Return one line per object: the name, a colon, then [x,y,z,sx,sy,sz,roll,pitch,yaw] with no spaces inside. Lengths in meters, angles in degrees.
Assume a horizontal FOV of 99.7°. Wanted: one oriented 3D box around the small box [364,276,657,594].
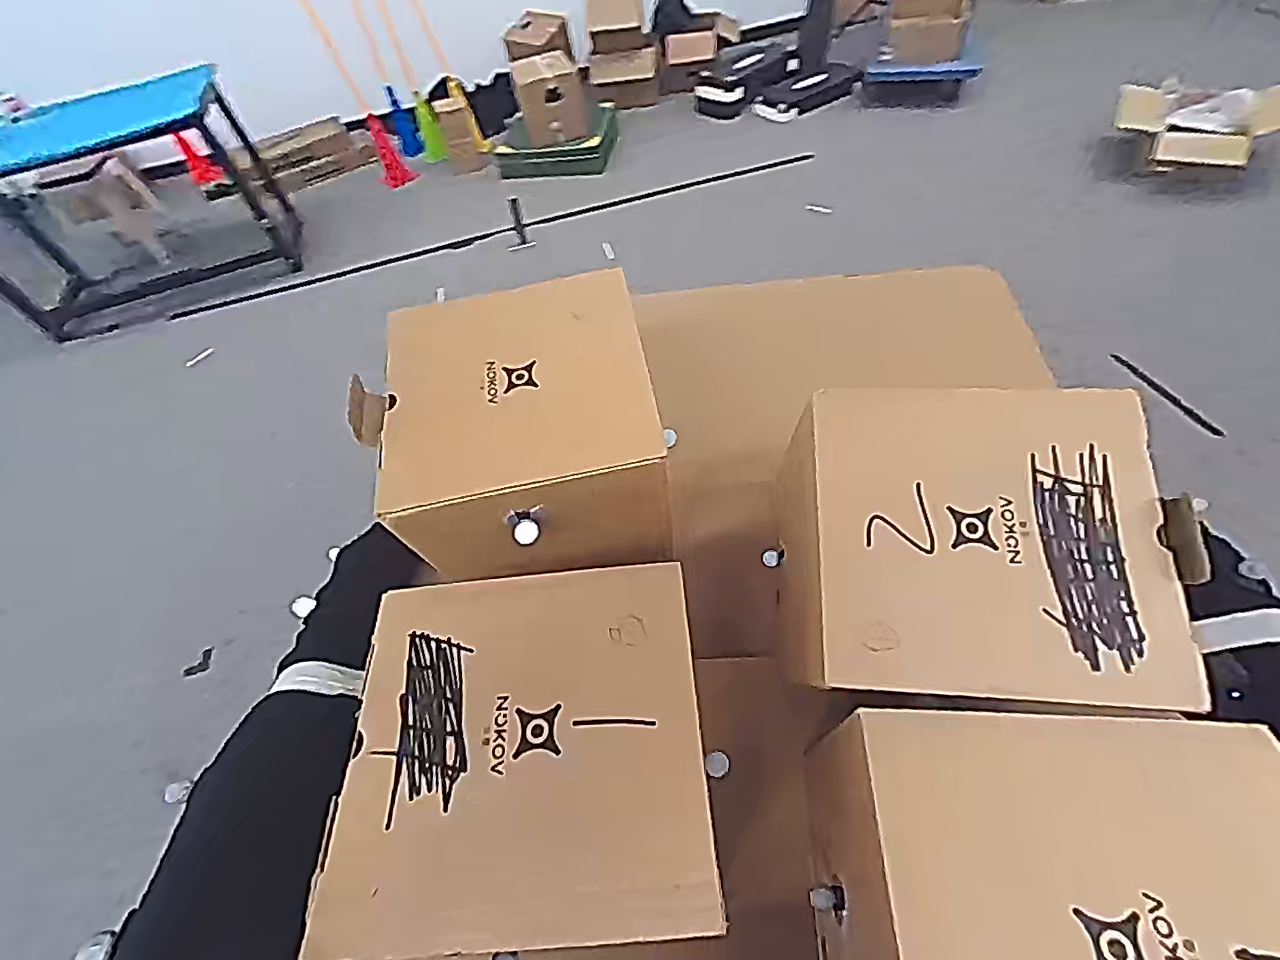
small box: [-0.085,-0.024,0.426,0.179,0.176,0.168,-12,61,0]
